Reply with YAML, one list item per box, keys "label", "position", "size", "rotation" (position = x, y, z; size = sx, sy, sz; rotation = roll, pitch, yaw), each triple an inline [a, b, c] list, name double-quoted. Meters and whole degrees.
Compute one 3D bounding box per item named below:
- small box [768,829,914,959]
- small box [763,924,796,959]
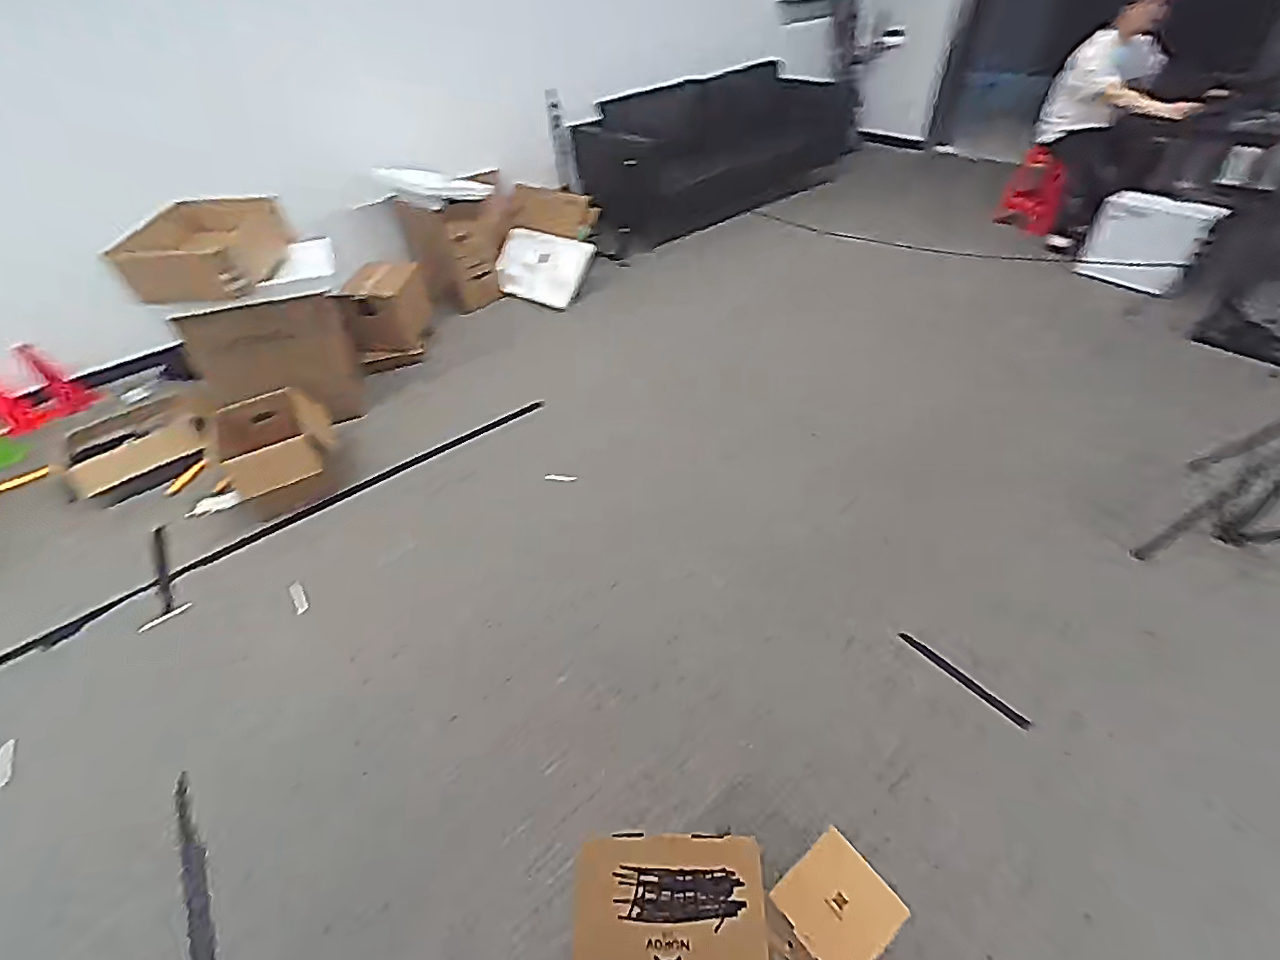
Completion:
- label: "small box"
  position: [0.349, 0.781, 0.973]
  size: [0.179, 0.176, 0.168]
  rotation: [-30, 48, -24]
- label: "small box"
  position: [0.359, 0.906, 1.077]
  size: [0.168, 0.176, 0.179]
  rotation: [28, 52, 31]
